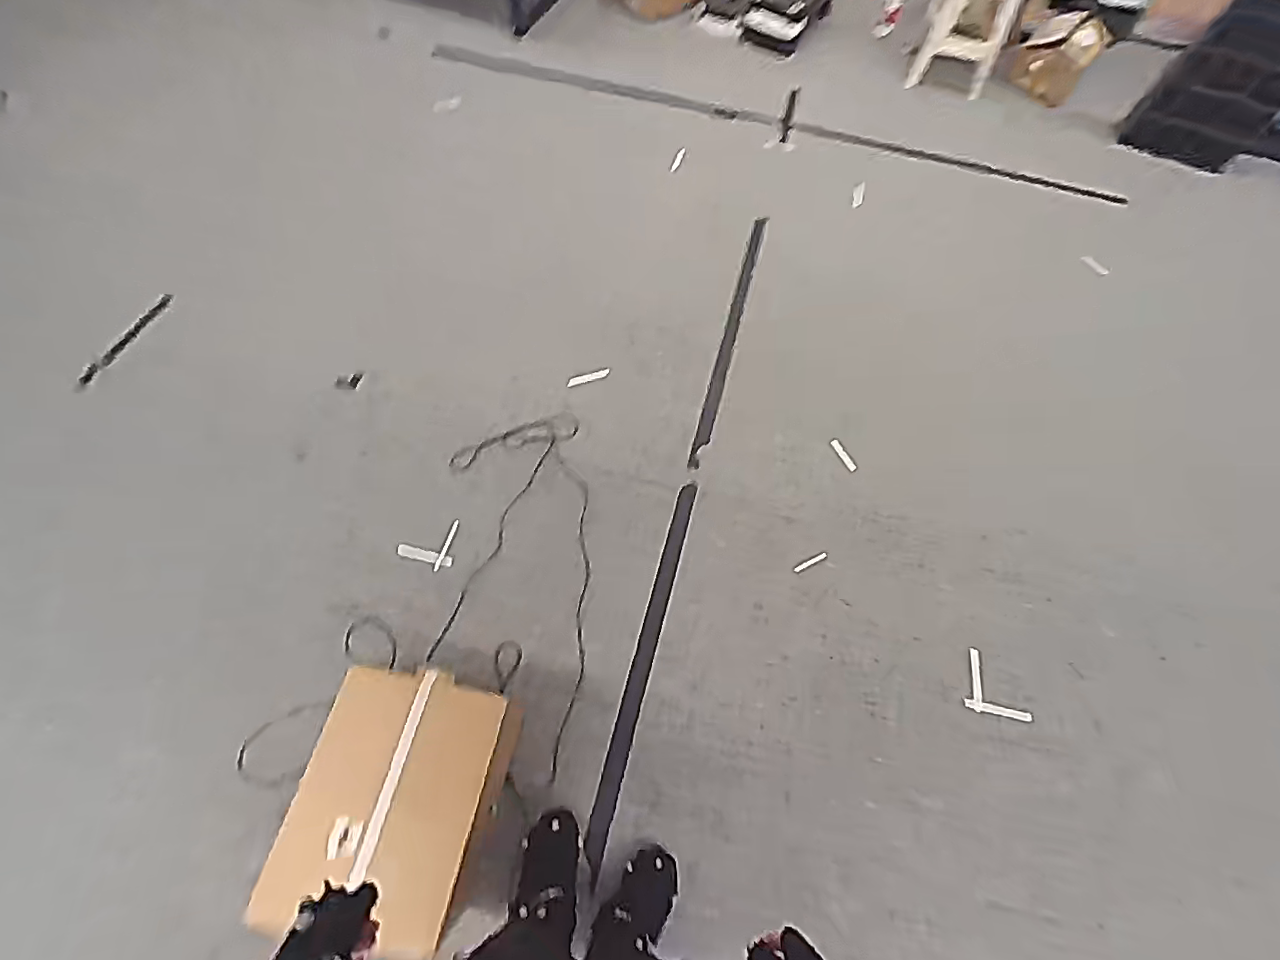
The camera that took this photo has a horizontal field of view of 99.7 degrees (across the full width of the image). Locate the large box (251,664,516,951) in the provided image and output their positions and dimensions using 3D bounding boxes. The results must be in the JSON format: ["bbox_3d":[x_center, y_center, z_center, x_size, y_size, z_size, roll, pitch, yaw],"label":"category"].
[{"bbox_3d":[-0.466,0.623,1.100,0.320,0.320,0.408,13,64,1],"label":"large box"}]
